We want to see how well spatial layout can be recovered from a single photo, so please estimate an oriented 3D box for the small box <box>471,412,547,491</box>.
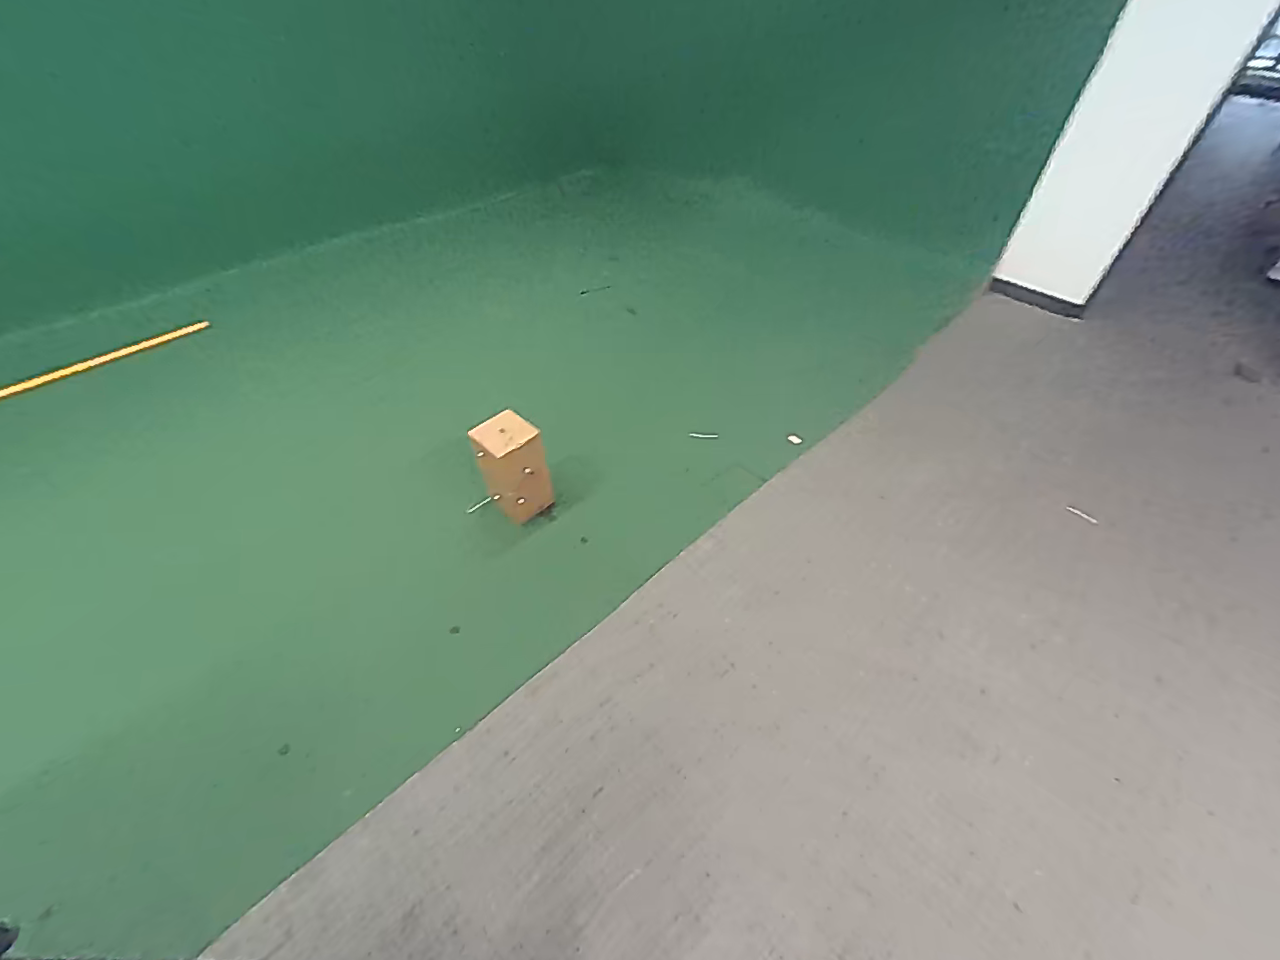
[{"bbox_3d":[-0.432,-0.093,1.804,0.179,0.176,0.168,35,57,29],"label":"small box"}]
